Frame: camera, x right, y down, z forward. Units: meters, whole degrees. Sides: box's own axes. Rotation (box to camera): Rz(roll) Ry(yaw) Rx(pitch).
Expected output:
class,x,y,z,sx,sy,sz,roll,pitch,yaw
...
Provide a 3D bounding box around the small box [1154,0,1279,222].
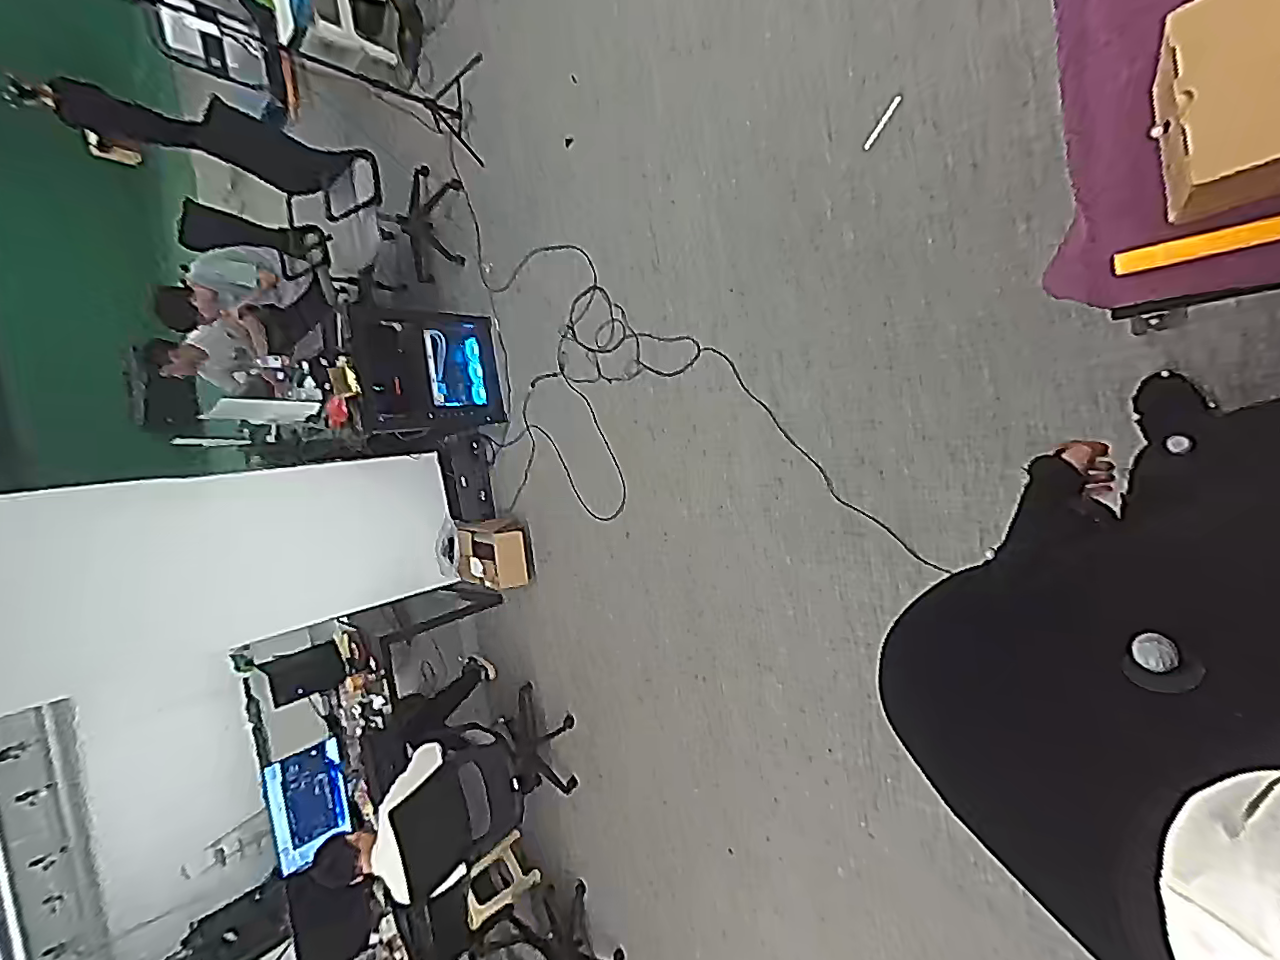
class,x,y,z,sx,sy,sz,roll,pitch,yaw
small box,0.620,-0.373,0.513,0.179,0.176,0.168,-8,93,43
